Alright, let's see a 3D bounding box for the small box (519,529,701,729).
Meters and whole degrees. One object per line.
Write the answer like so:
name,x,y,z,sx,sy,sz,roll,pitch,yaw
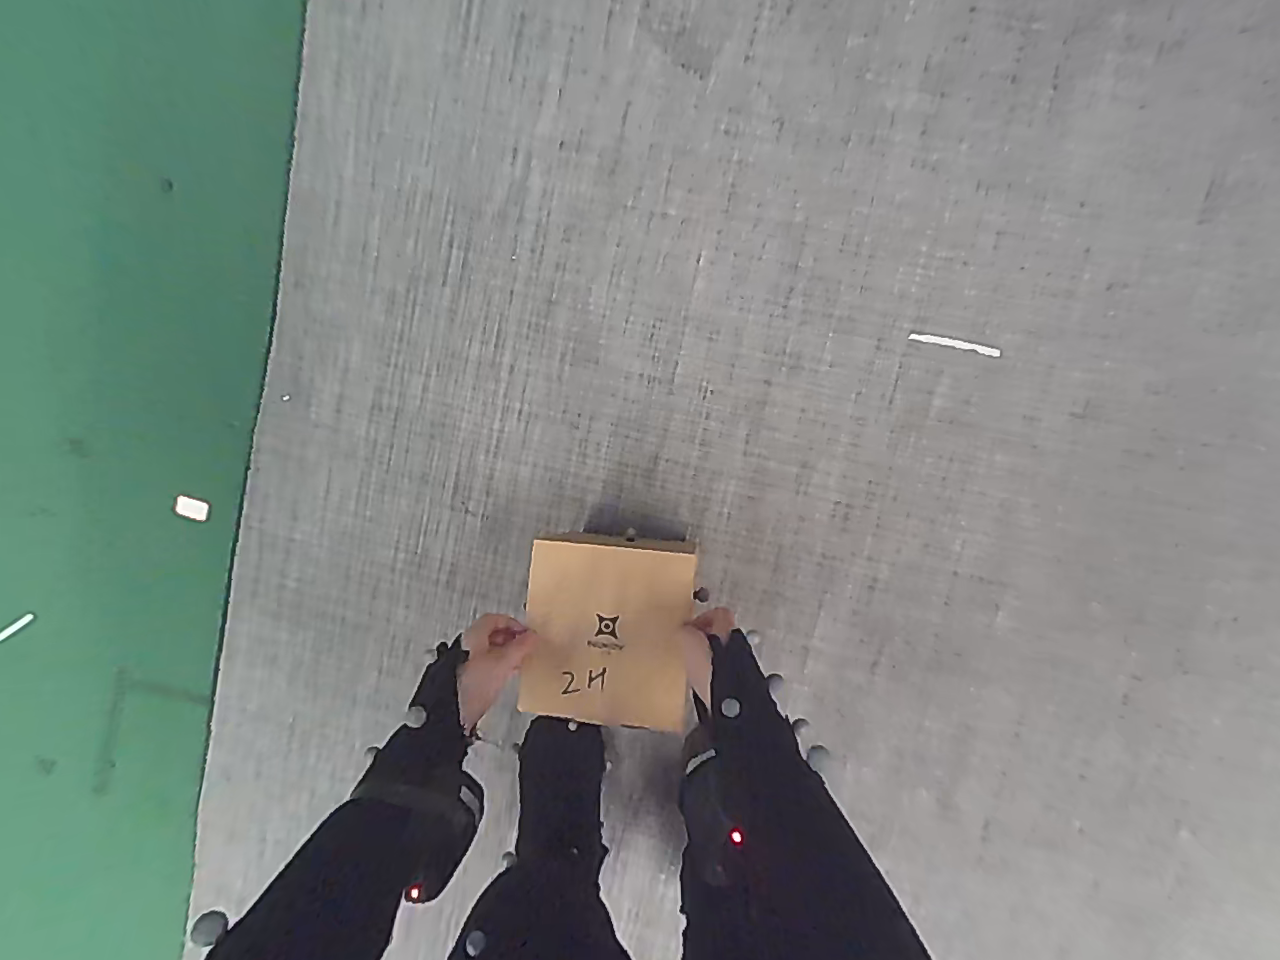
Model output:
small box,-0.021,0.148,0.603,0.168,0.176,0.179,5,87,7
